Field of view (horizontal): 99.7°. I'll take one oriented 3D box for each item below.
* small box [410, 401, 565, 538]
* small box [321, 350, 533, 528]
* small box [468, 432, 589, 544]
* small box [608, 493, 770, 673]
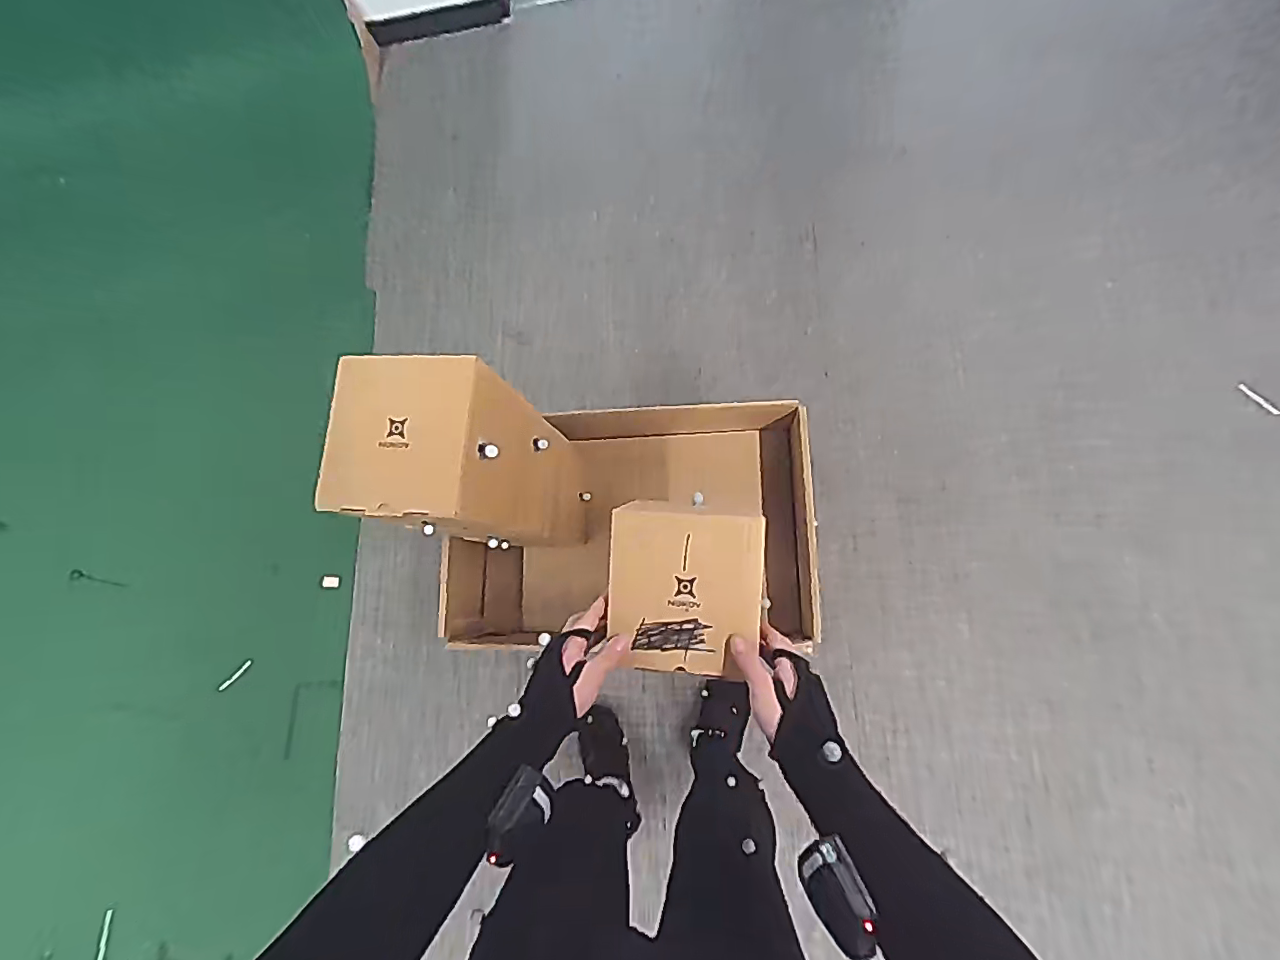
[{"bbox_3d":[-0.217,-0.010,0.811,0.168,0.176,0.179,2,80,10],"label":"small box"},{"bbox_3d":[-0.239,-0.041,0.653,0.168,0.176,0.179,3,81,10],"label":"small box"},{"bbox_3d":[-0.191,0.020,0.970,0.168,0.176,0.179,0,79,9],"label":"small box"},{"bbox_3d":[0.062,0.113,0.664,0.168,0.176,0.179,4,91,7],"label":"small box"}]
